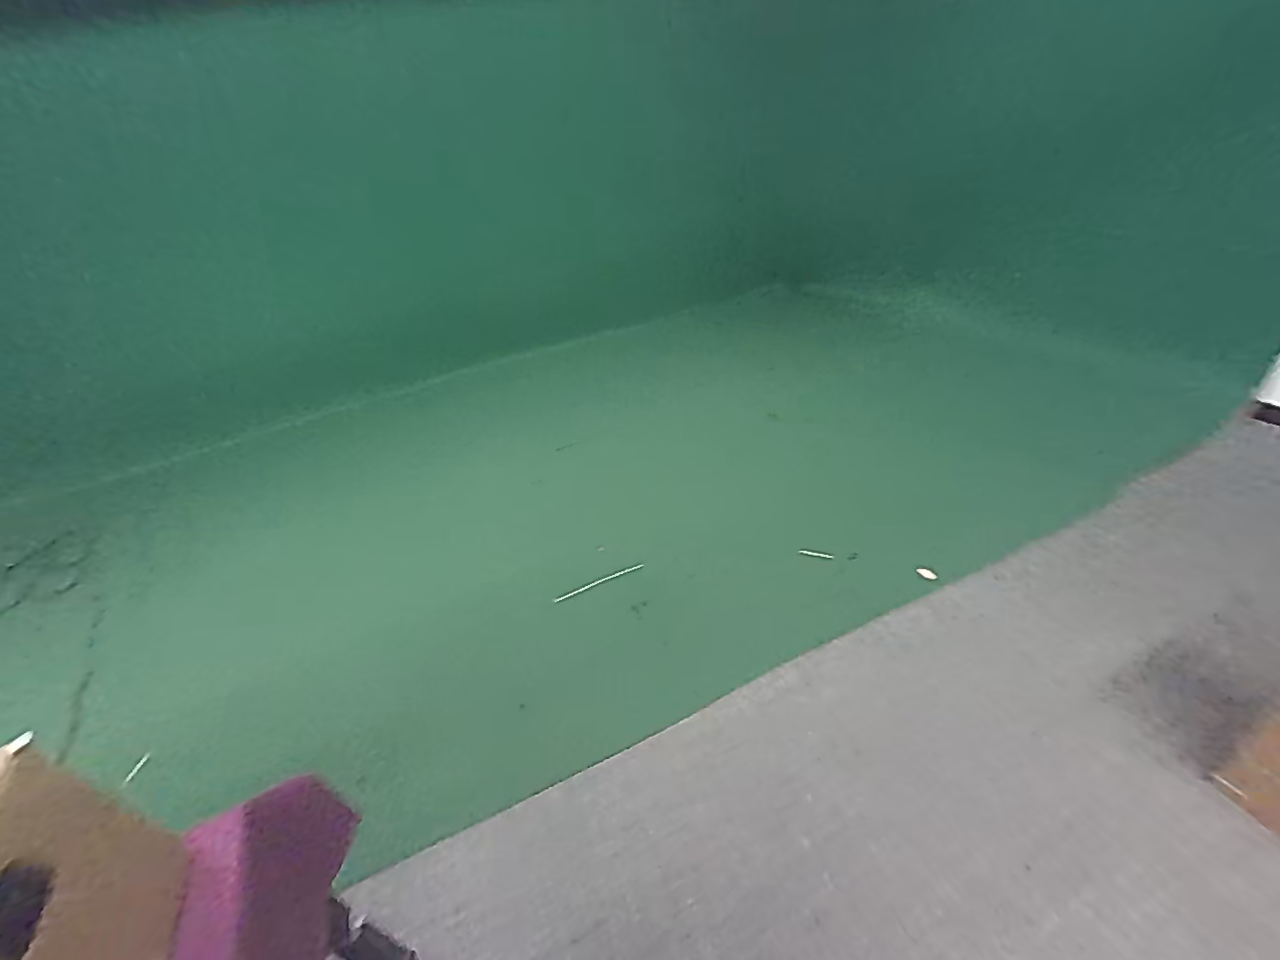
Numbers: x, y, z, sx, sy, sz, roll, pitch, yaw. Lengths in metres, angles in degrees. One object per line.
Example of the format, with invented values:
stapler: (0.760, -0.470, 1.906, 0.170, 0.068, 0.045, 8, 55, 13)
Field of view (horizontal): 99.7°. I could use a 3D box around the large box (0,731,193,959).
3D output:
large box: (-0.786, 0.549, 0.537, 0.408, 0.320, 0.320, -20, 37, -16)
